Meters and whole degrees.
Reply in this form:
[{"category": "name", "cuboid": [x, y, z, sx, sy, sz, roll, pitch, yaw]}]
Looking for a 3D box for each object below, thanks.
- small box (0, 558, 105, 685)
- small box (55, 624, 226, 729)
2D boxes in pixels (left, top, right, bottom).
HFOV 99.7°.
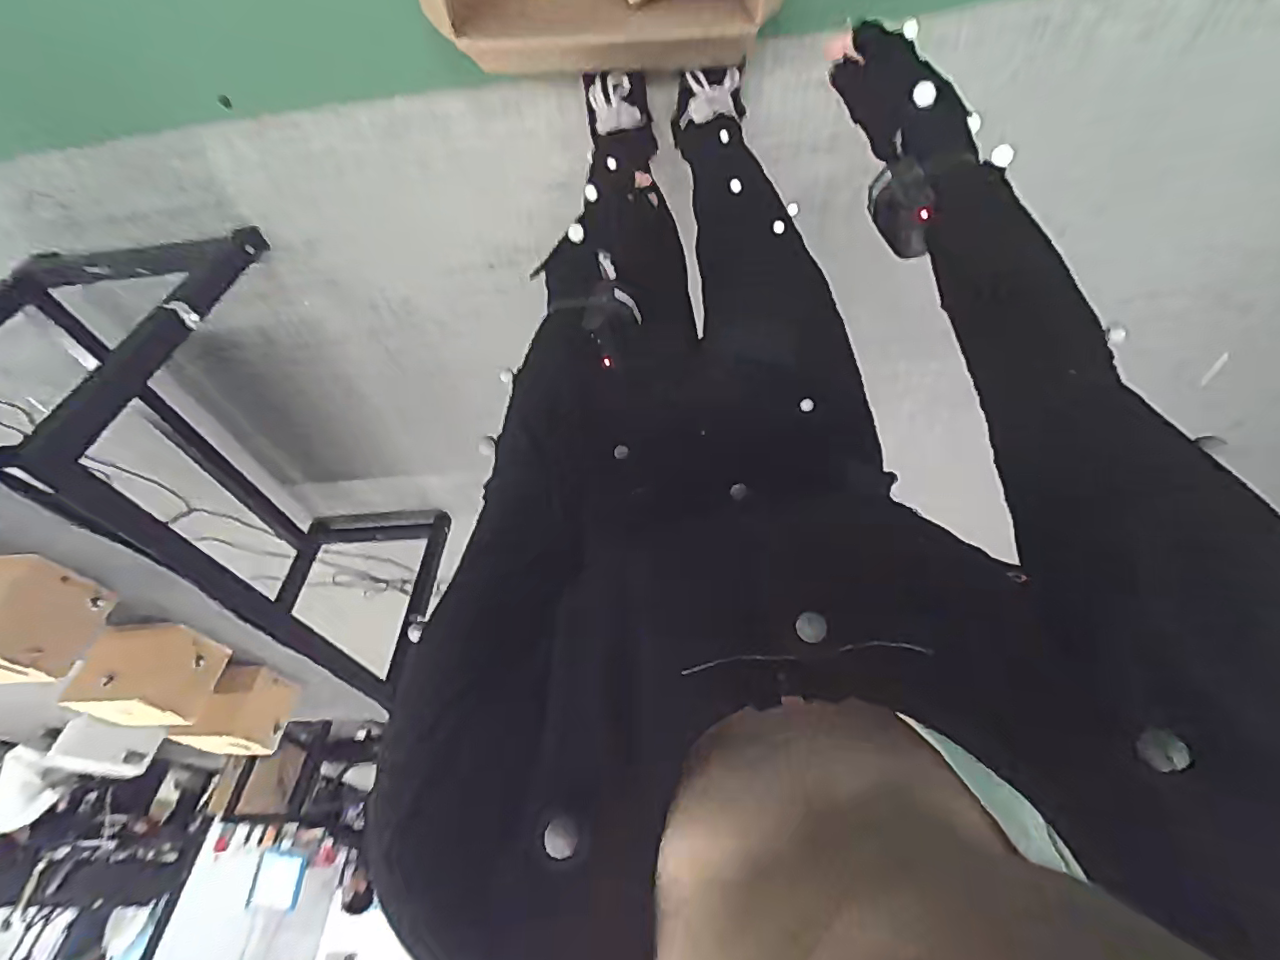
[{"category": "small box", "cuboid": [-1.113, 0.247, 0.949, 0.179, 0.176, 0.168, -4, 140, 8]}, {"category": "small box", "cuboid": [-1.057, 0.422, 1.164, 0.179, 0.176, 0.168, -5, 140, 7]}]
